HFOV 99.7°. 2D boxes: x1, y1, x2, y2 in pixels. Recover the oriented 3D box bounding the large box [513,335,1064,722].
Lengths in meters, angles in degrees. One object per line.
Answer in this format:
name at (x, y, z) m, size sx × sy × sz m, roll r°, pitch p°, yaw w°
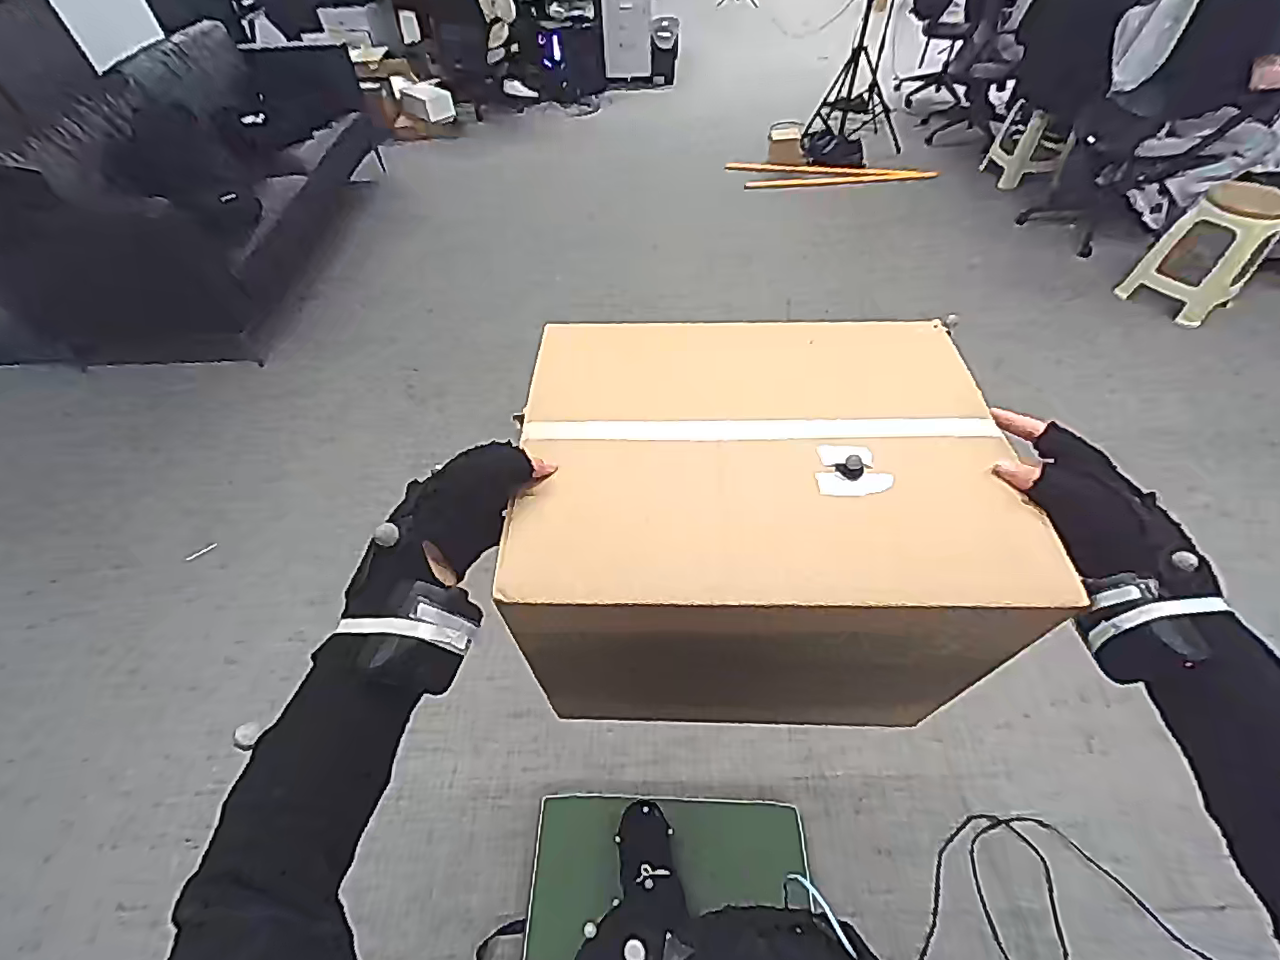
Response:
large box at (0.106, 0.060, 0.592) m, size 0.408 × 0.320 × 0.320 m, roll 0°, pitch 52°, yaw 1°
